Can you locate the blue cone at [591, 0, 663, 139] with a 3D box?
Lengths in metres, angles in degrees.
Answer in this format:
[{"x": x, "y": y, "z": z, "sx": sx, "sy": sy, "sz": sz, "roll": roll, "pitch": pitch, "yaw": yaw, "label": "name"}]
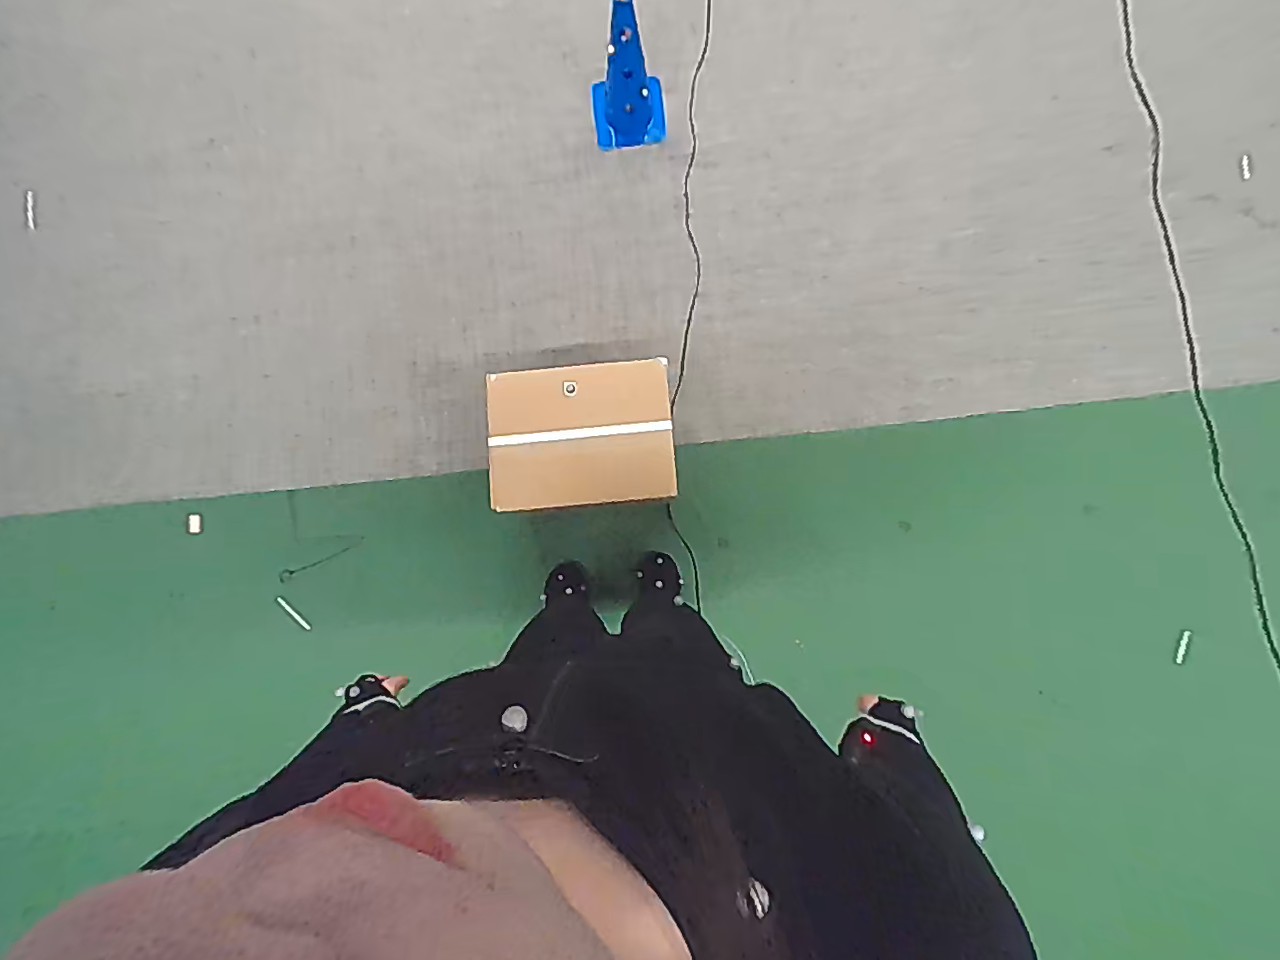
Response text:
[{"x": -0.040, "y": -1.065, "z": 1.356, "sx": 0.193, "sy": 0.380, "sz": 0.192, "roll": -9, "pitch": 87, "yaw": 2, "label": "blue cone"}]
